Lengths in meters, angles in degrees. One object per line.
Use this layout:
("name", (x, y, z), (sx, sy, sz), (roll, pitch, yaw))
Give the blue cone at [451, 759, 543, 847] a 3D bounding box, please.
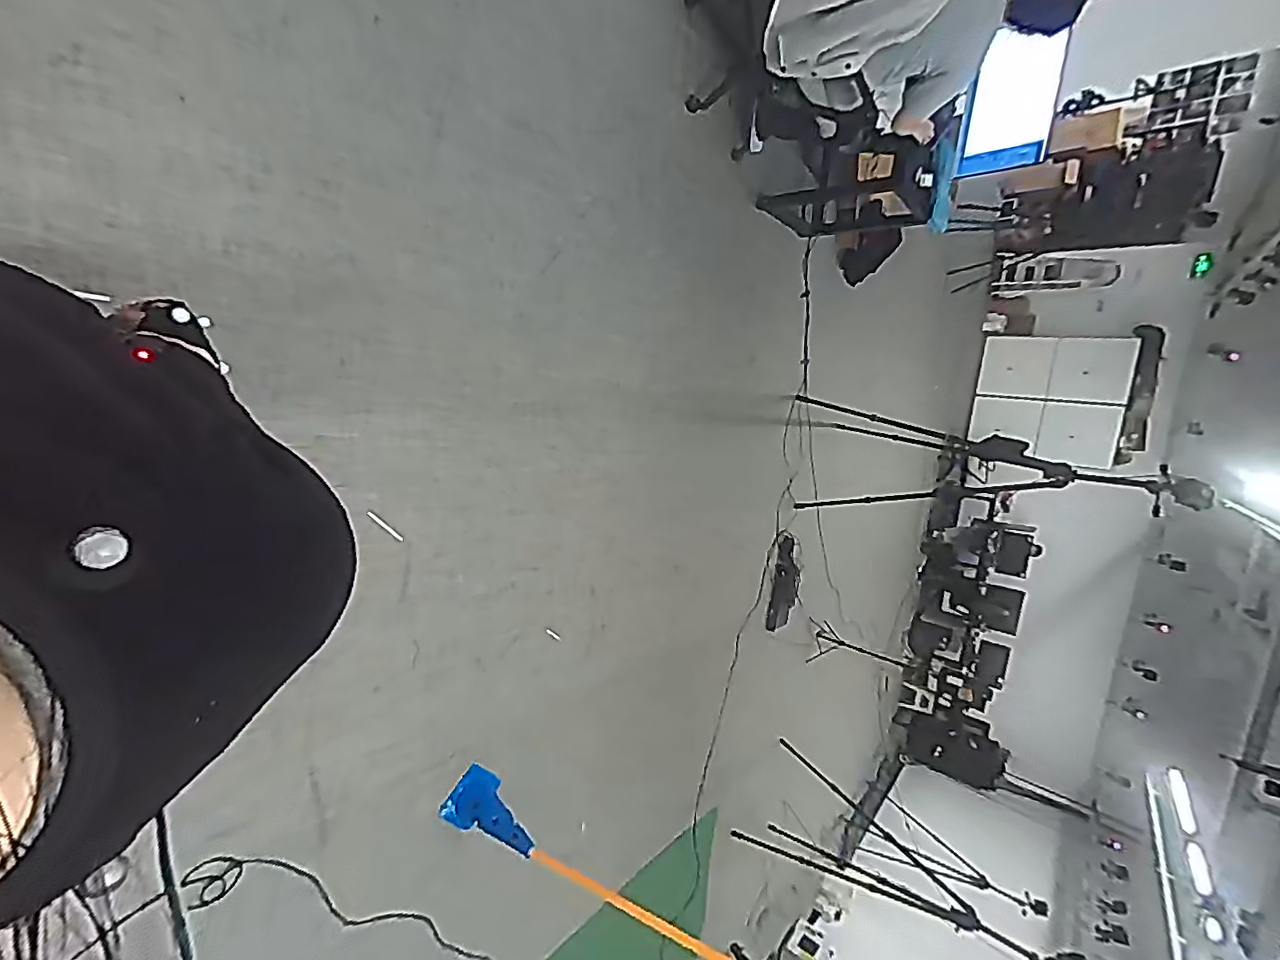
("blue cone", (-0.484, 1.186, 1.931), (0.193, 0.380, 0.192), (-55, 136, -27))
